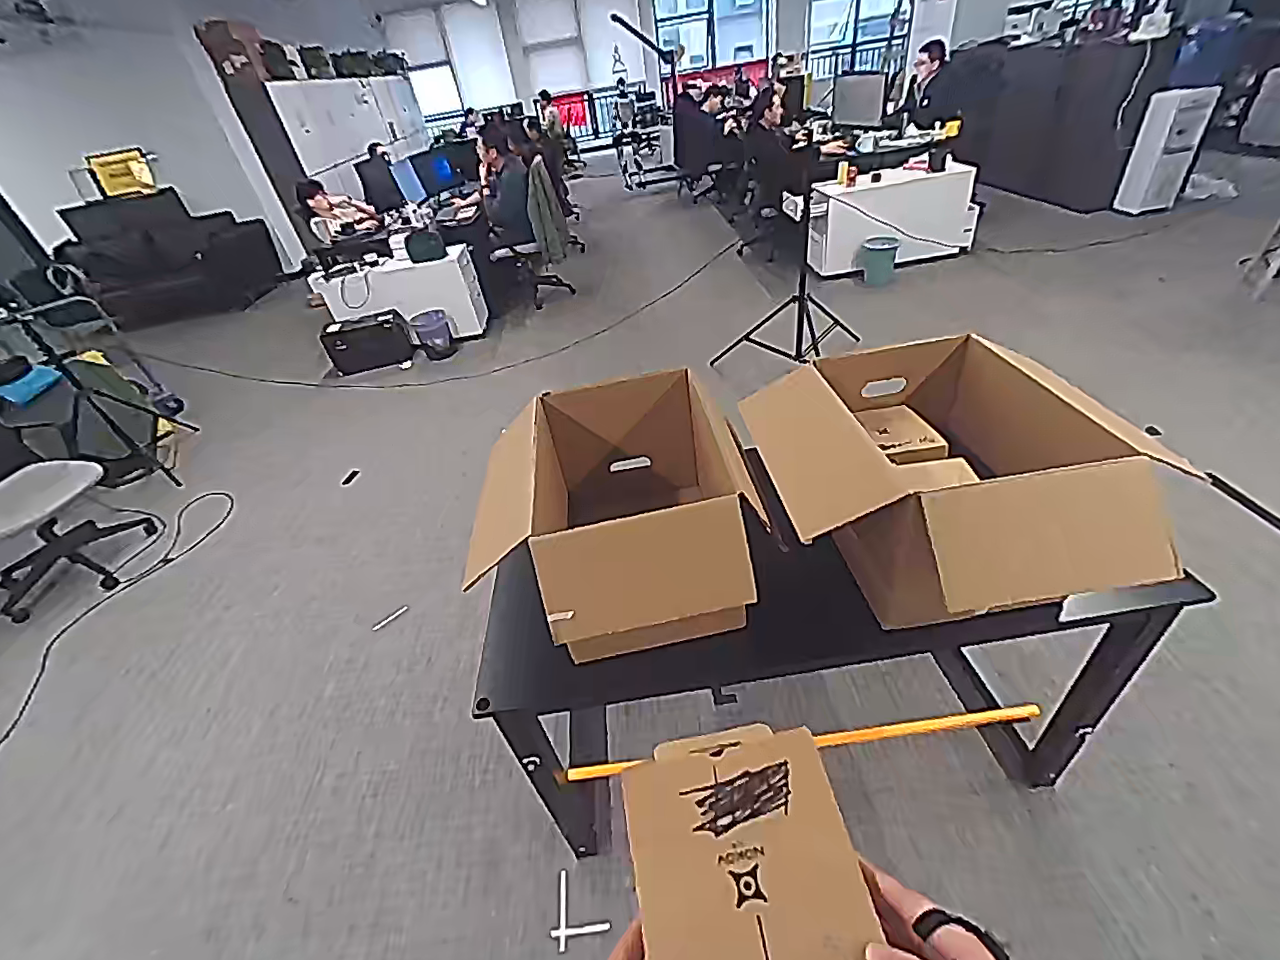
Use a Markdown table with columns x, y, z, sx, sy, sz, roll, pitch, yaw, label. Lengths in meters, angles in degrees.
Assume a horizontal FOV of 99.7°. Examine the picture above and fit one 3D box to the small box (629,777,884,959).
| x | y | z | sx | sy | sz | roll | pitch | yaw | label |
| --- | --- | --- | --- | --- | --- | --- | --- | --- | --- |
| 0.088 | 0.373 | 0.444 | 0.168 | 0.176 | 0.179 | -11 | 50 | -3 | small box |
